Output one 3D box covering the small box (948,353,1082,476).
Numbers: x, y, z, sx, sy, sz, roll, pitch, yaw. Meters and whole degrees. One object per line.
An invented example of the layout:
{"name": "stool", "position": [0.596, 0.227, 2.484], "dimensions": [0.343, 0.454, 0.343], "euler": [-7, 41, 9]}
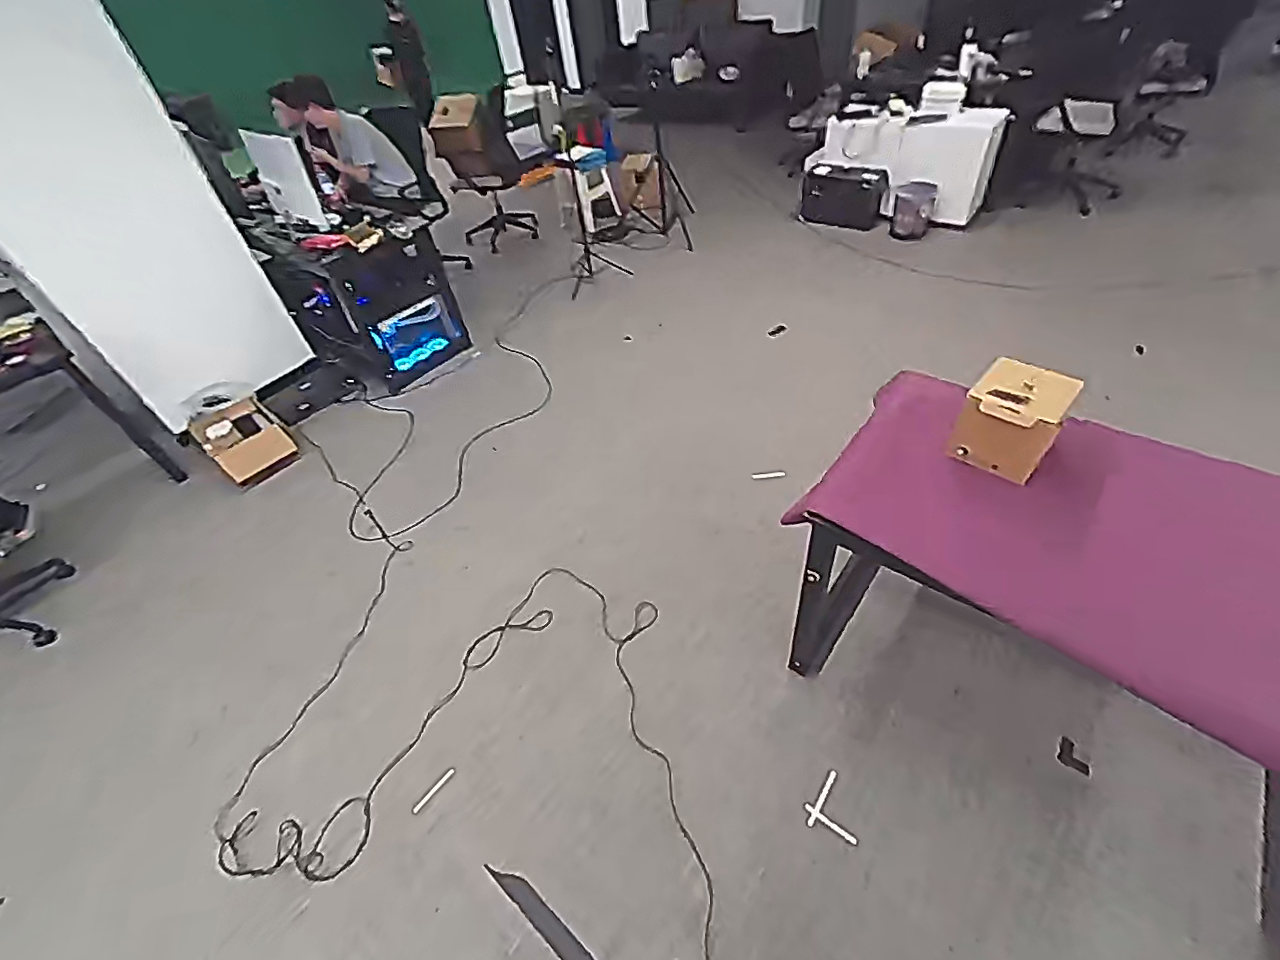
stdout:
{"name": "small box", "position": [0.791, -0.138, 1.159], "dimensions": [0.168, 0.176, 0.179], "euler": [32, 59, 33]}
